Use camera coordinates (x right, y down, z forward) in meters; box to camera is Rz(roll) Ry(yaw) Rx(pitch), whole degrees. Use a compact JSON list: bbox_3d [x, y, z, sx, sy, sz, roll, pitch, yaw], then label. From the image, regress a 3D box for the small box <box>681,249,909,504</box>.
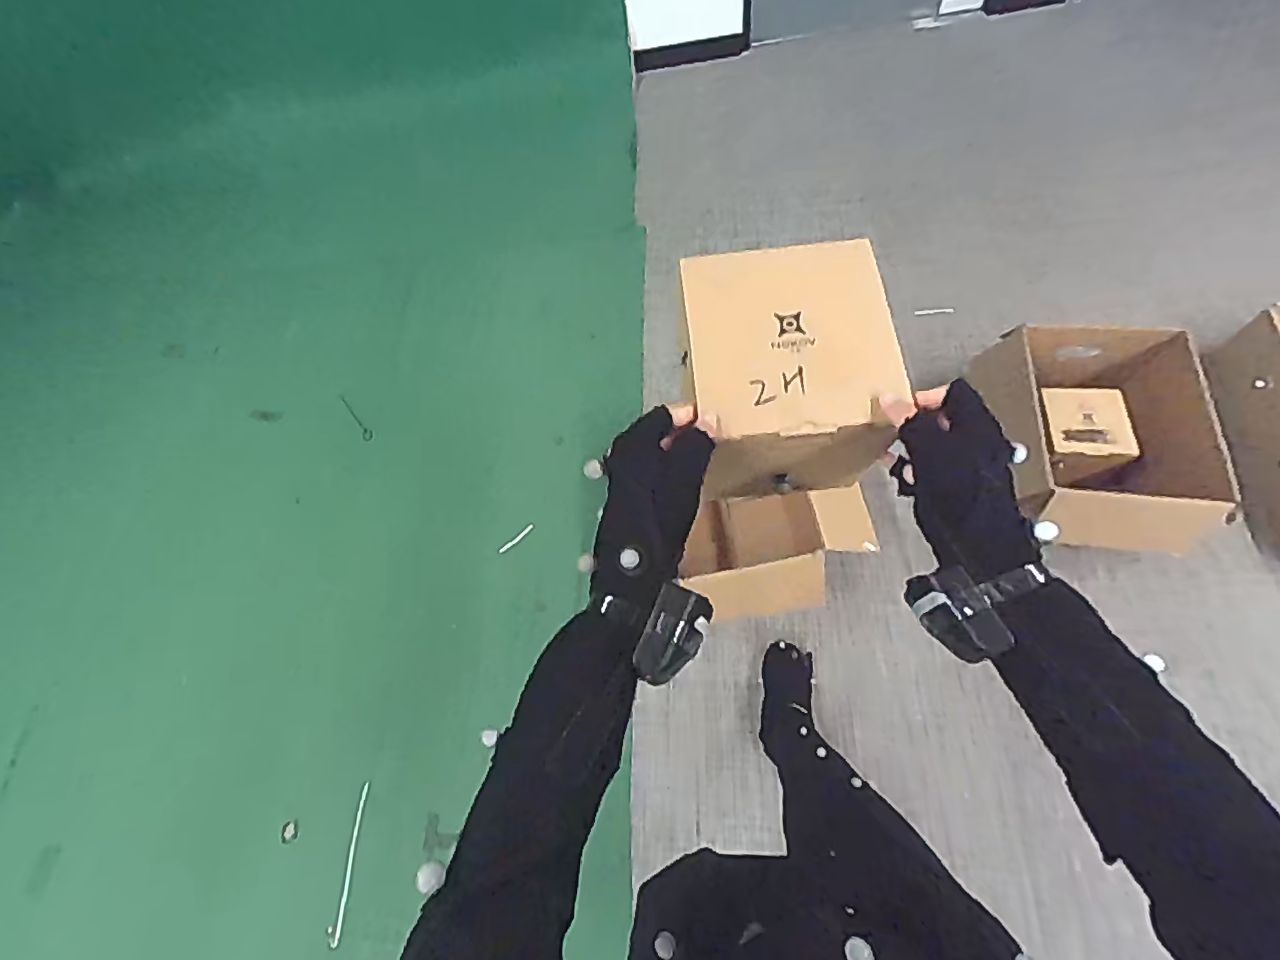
[{"bbox_3d":[0.128,-0.089,0.524,0.168,0.176,0.179,-6,70,3],"label":"small box"}]
